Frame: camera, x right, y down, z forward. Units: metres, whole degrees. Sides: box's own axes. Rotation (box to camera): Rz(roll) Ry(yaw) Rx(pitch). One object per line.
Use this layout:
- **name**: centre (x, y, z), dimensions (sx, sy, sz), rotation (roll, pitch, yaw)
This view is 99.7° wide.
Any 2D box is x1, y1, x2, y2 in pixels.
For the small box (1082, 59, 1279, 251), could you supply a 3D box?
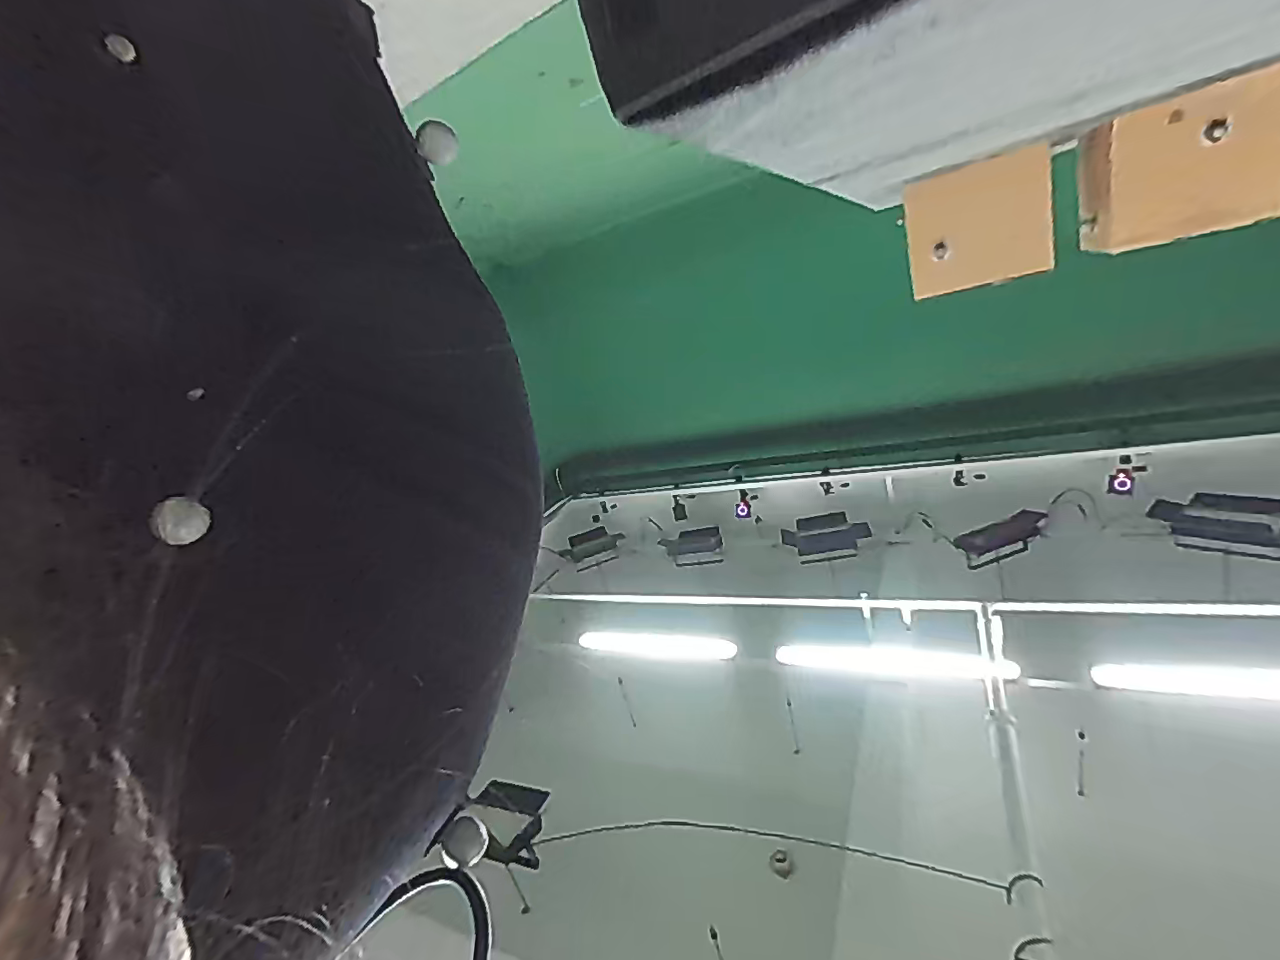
- **small box**: centre (0.706, -0.415, 0.712), dimensions (0.168, 0.176, 0.179), rotation (-6, -161, 30)
